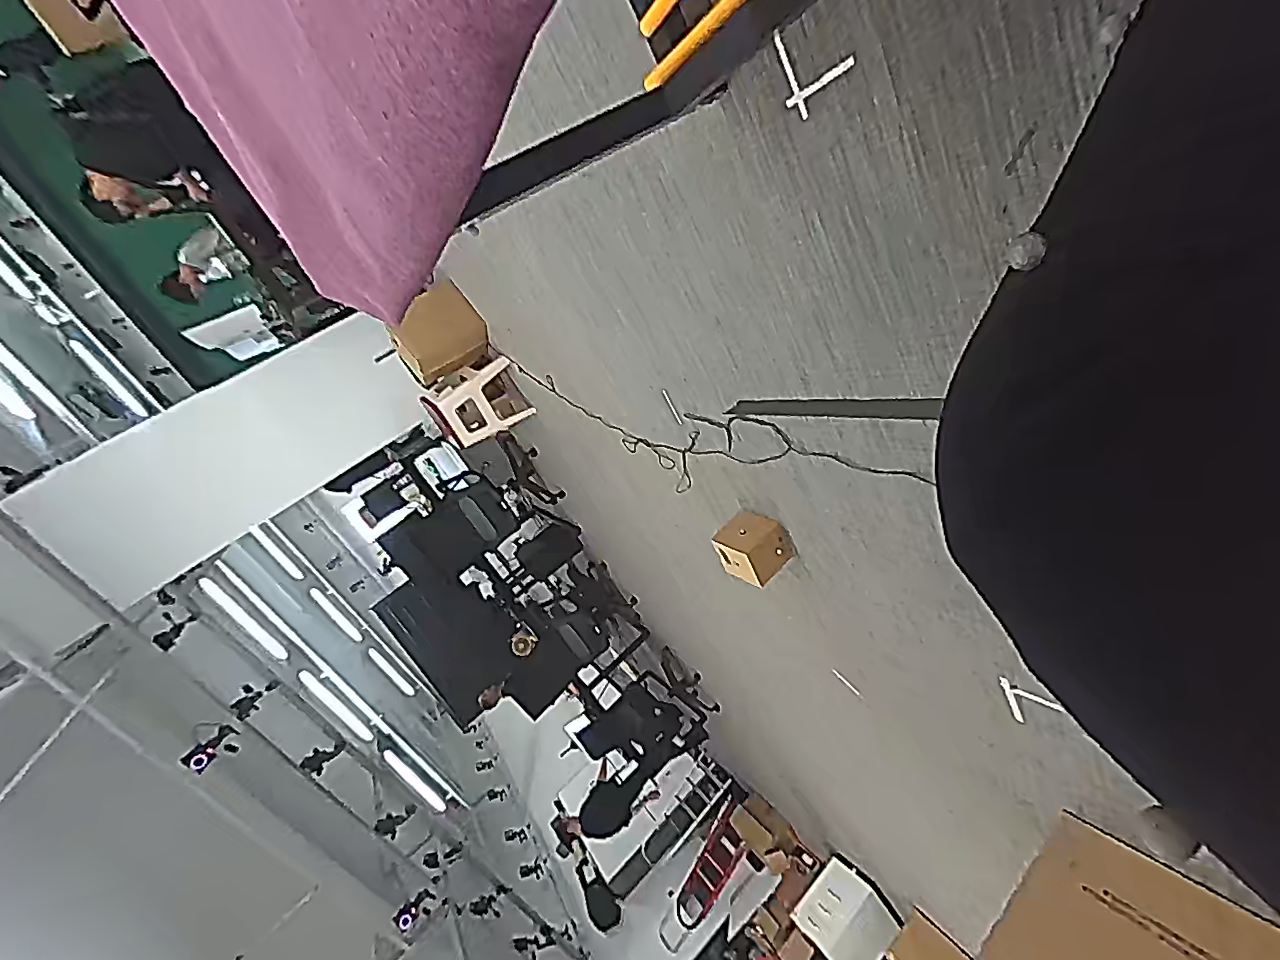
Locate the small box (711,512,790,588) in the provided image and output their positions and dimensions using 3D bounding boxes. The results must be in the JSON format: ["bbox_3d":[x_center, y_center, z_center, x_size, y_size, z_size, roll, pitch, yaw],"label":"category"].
[{"bbox_3d":[0.378,0.230,1.843,0.179,0.176,0.168,19,144,53],"label":"small box"}]
